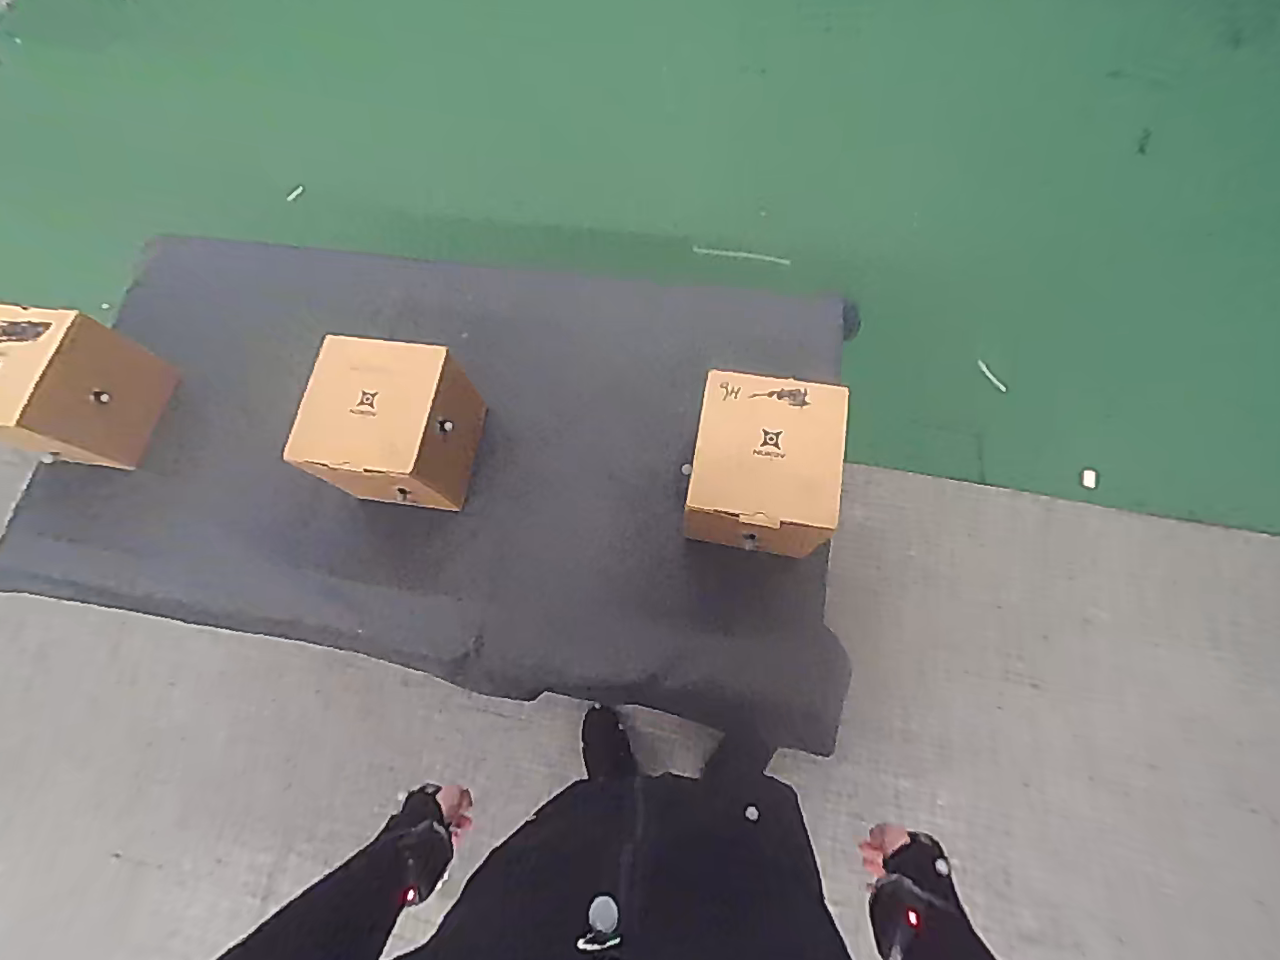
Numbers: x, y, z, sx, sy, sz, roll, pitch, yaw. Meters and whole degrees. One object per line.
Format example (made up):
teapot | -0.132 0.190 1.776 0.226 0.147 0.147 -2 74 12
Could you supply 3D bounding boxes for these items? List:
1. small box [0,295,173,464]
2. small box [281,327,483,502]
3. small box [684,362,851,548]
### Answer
small box | -0.841 -0.141 0.782 0.168 0.176 0.179 8 73 6
small box | -0.329 -0.079 0.732 0.168 0.176 0.179 7 72 5
small box | 0.151 -0.021 0.677 0.168 0.176 0.179 9 74 7
